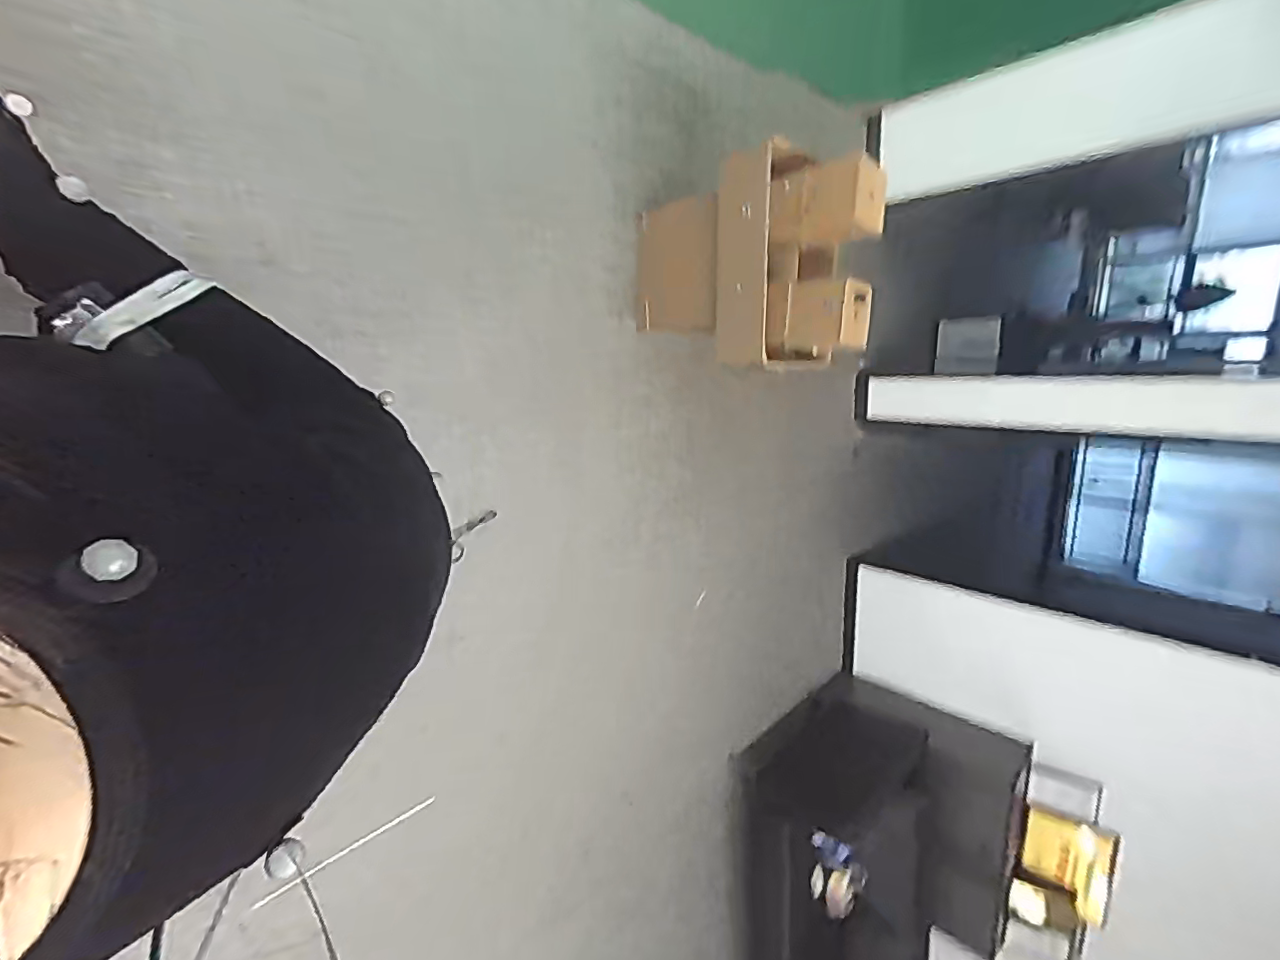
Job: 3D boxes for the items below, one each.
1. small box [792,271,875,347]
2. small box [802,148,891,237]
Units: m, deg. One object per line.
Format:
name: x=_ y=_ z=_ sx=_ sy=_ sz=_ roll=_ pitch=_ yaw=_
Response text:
small box: x=0.556 y=-0.487 z=1.563 sx=0.168 sy=0.176 sz=0.179 roll=-4 pitch=101 yaw=-43
small box: x=0.581 y=-0.800 z=1.526 sx=0.179 sy=0.176 sz=0.168 roll=-5 pitch=102 yaw=-43
